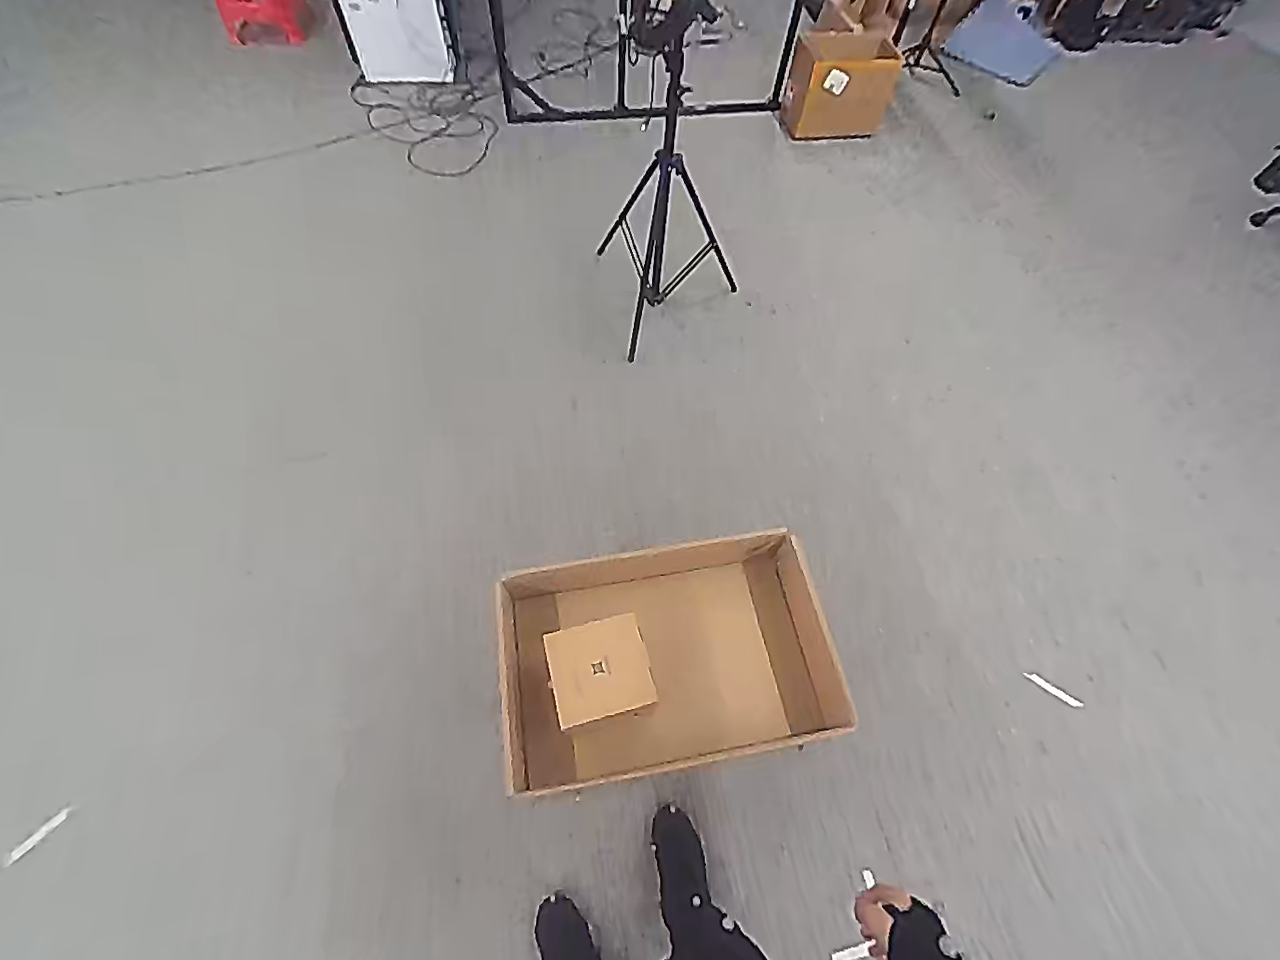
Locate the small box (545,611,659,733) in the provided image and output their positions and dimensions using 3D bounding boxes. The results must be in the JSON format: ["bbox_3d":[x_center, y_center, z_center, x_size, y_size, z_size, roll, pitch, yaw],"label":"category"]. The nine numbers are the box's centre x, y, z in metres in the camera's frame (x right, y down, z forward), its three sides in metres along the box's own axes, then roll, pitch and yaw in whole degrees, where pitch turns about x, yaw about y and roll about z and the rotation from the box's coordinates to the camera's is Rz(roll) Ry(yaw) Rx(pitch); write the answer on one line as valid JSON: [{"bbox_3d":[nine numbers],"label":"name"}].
[{"bbox_3d":[-0.073,0.367,1.026,0.179,0.176,0.168,-12,61,-9],"label":"small box"}]
